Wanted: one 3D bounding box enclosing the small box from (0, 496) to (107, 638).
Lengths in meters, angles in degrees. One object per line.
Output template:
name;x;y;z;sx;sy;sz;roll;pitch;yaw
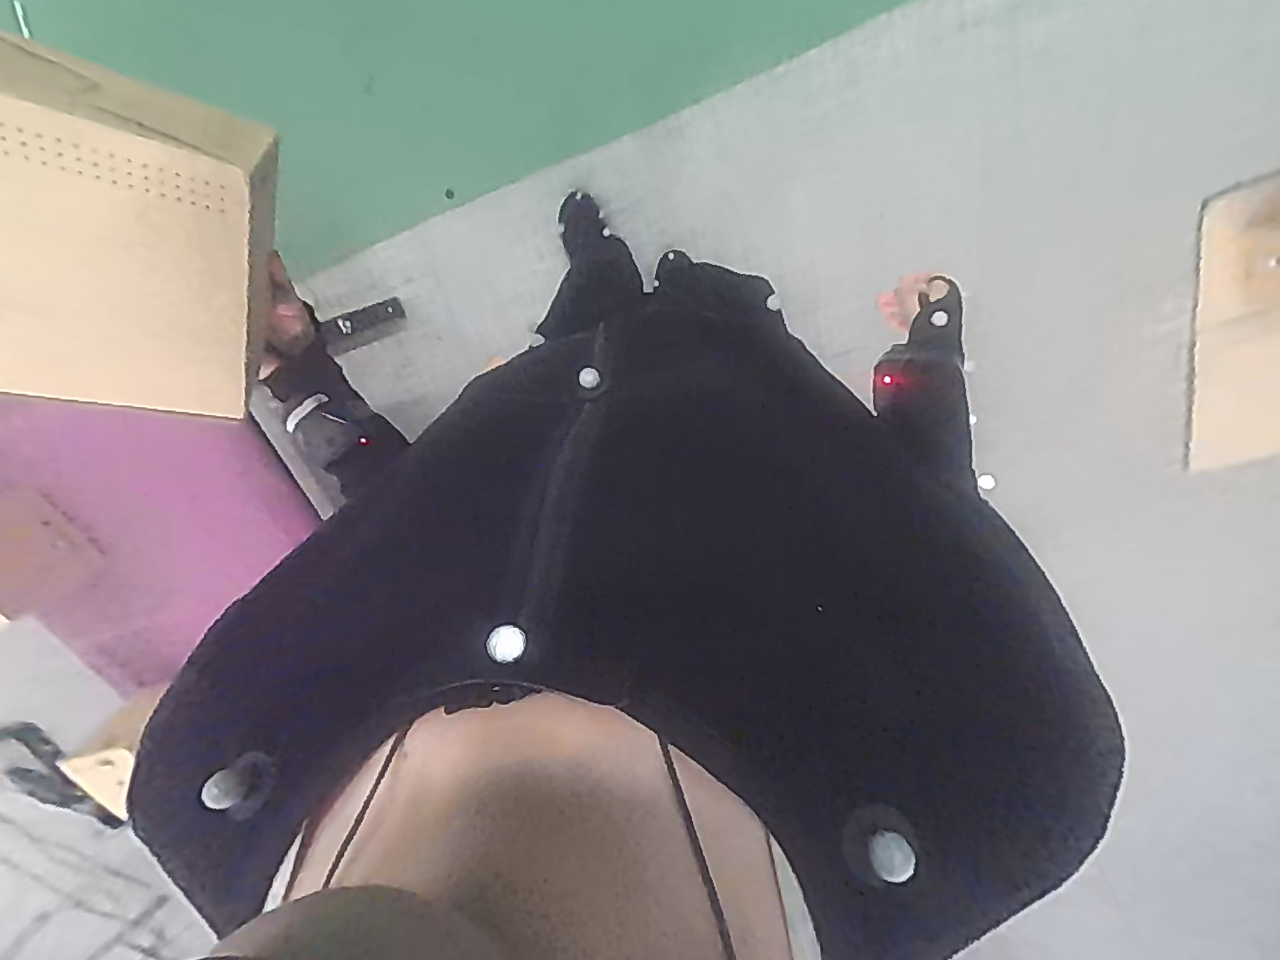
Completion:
small box;-1.044;0.152;0.872;0.179;0.176;0.168;-21;115;13

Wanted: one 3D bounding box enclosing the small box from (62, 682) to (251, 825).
small box;-0.918;0.527;1.049;0.168;0.176;0.179;-17;115;11

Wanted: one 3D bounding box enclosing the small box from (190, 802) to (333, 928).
small box;-0.824;0.852;1.201;0.168;0.176;0.179;-5;115;6
